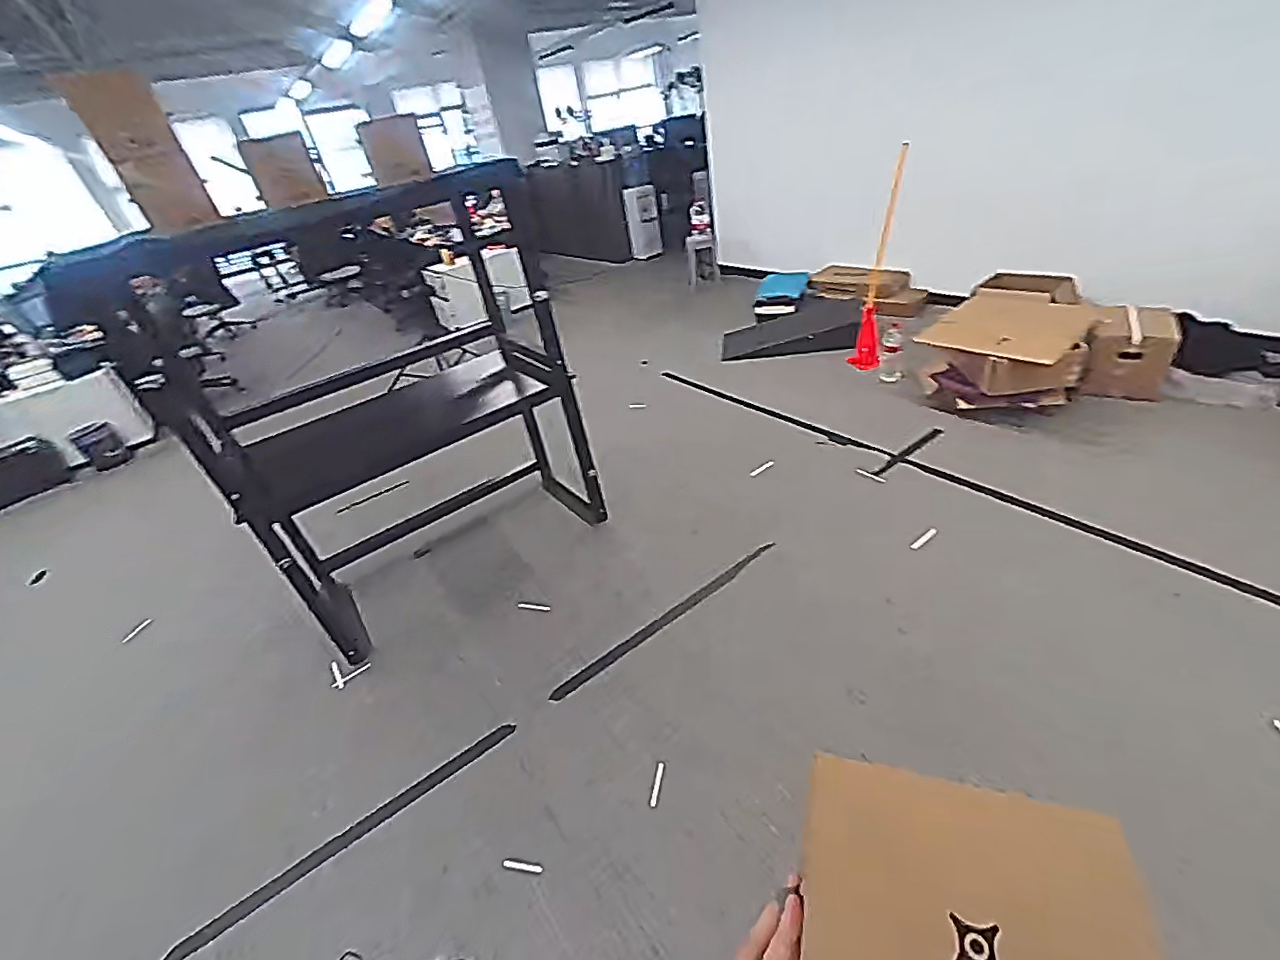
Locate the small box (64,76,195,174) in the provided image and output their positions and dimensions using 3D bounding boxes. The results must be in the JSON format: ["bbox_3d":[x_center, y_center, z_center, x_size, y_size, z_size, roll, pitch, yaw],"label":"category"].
[{"bbox_3d":[-1.227,-0.858,1.317,0.168,0.176,0.179,-30,37,-24],"label":"small box"}]

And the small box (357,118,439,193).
[{"bbox_3d":[-0.732,-0.978,1.639,0.168,0.176,0.179,-25,36,-19],"label":"small box"}]

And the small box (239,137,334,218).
[{"bbox_3d":[-0.986,-0.842,1.514,0.168,0.176,0.179,-28,35,-25],"label":"small box"}]
